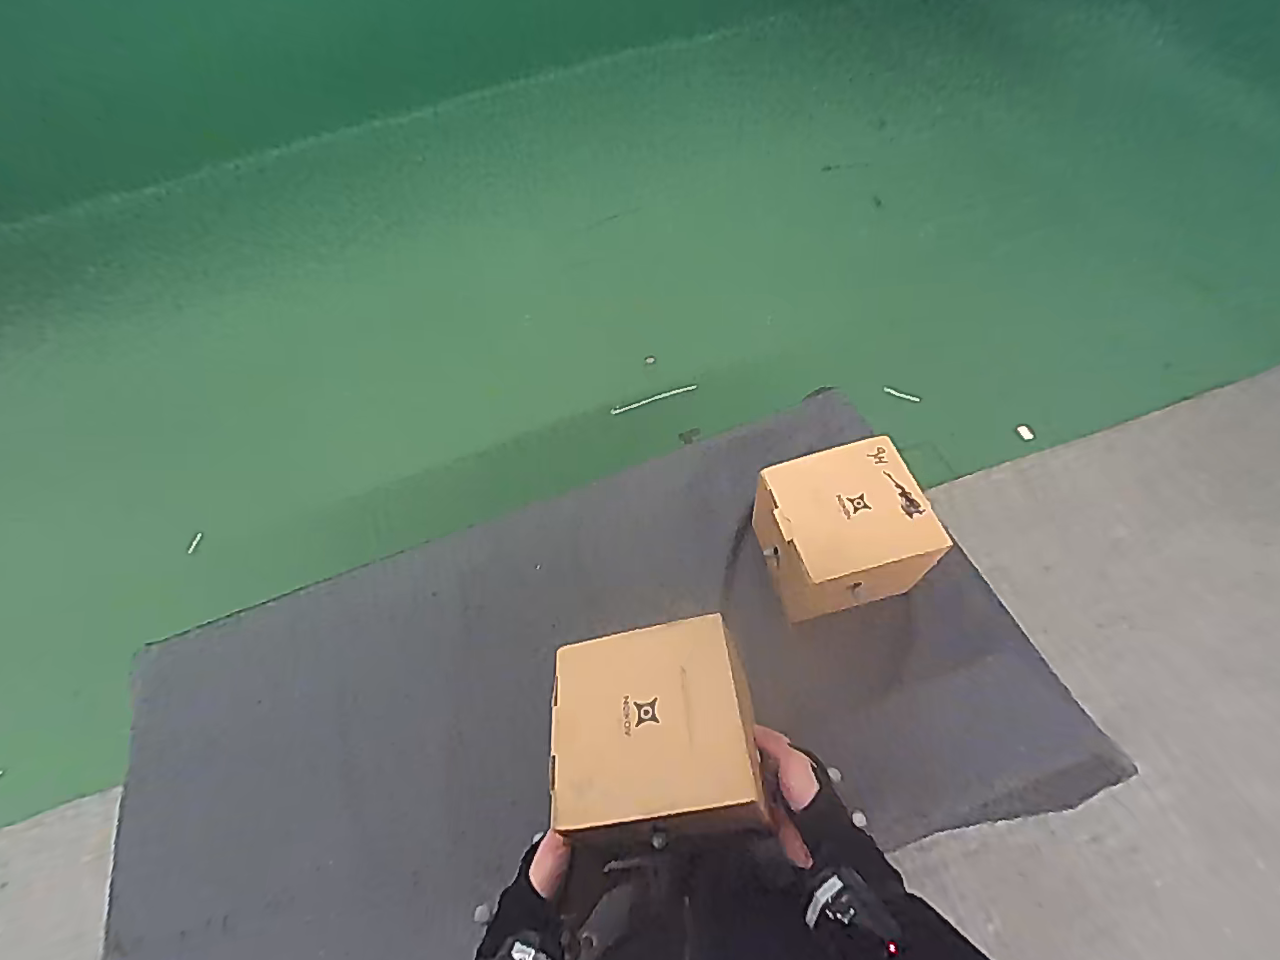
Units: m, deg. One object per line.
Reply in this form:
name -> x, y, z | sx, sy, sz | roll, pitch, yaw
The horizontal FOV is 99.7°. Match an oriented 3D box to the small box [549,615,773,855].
small box -> 0.024, 0.263, 0.547 | 0.179, 0.176, 0.168 | -14, 47, 8

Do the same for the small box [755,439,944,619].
small box -> 0.263, 0.074, 0.733 | 0.179, 0.176, 0.168 | -14, 60, -1
